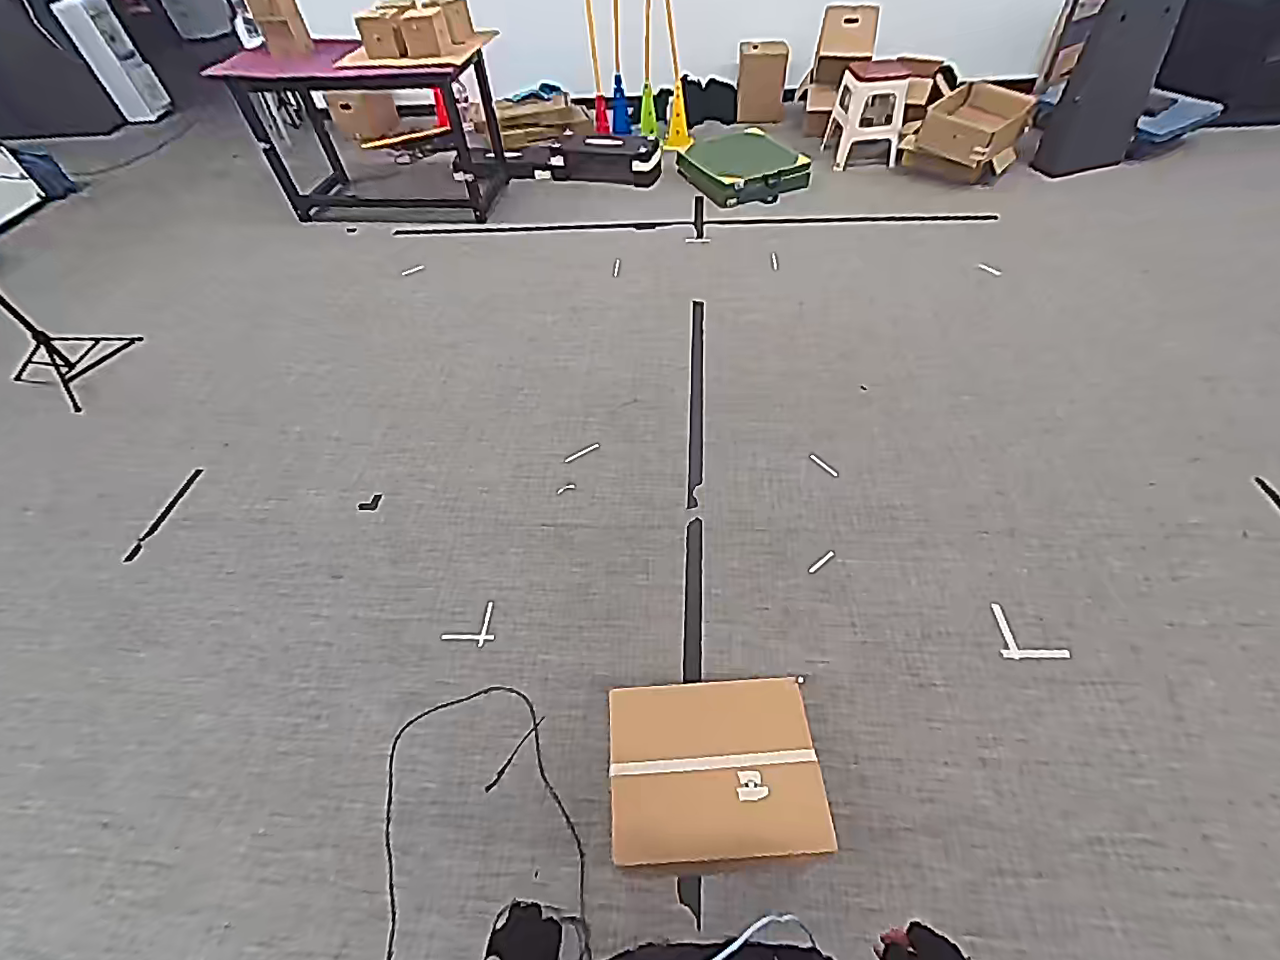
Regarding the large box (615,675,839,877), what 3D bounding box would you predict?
[{"bbox_3d":[0.159,0.648,1.178,0.408,0.320,0.320,-4,50,0],"label":"large box"}]
